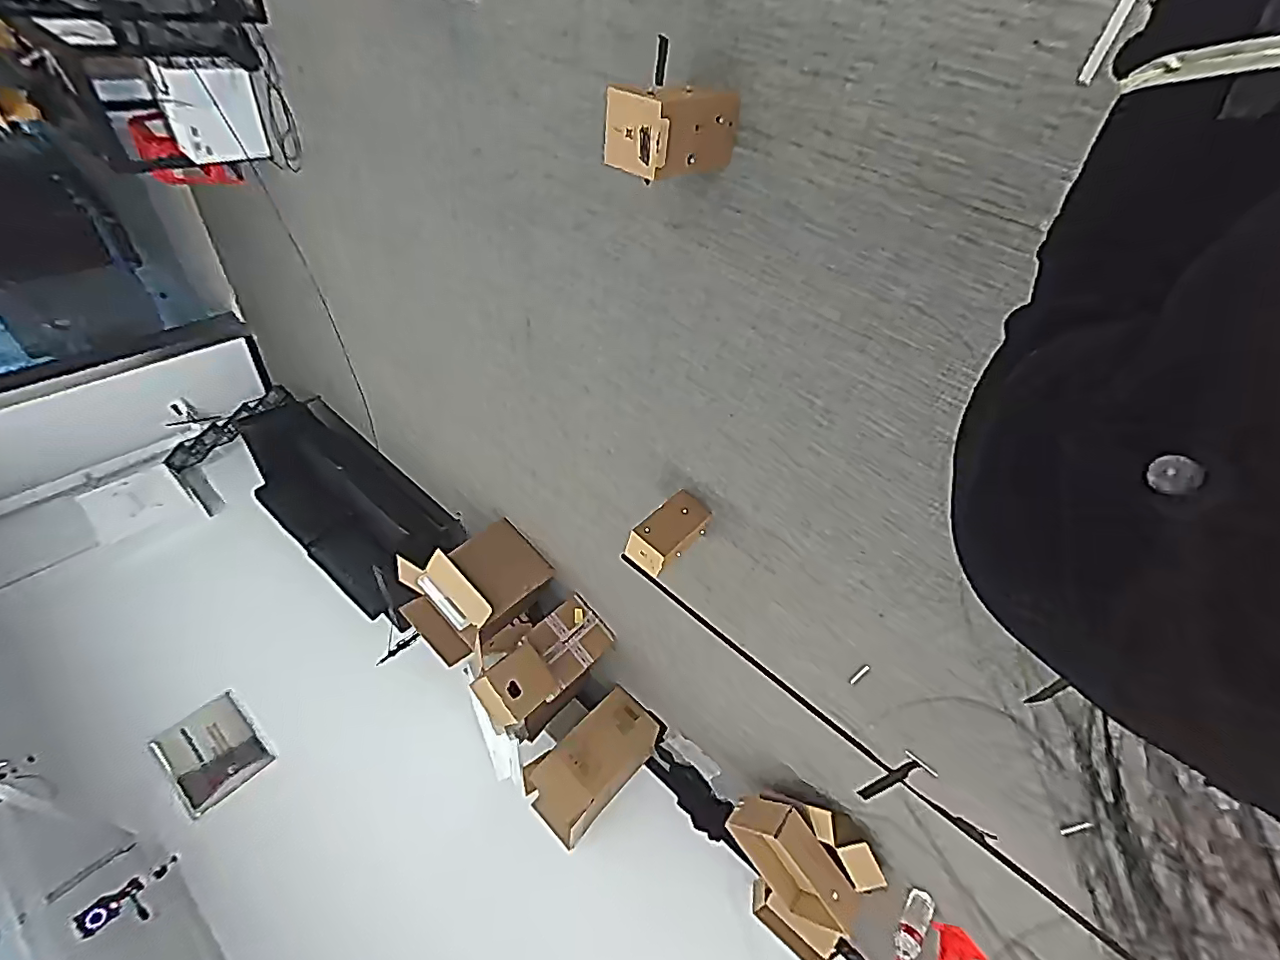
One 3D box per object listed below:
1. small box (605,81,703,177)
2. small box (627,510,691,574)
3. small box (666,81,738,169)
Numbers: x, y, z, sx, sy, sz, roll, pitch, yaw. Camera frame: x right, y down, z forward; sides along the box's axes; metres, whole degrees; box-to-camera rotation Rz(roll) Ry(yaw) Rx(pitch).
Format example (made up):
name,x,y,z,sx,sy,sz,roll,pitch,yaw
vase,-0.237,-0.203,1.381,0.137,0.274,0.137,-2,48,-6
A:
name,x,y,z,sx,sy,sz,roll,pitch,yaw
small box,0.035,-0.881,1.349,0.179,0.176,0.168,34,139,25
small box,0.076,0.245,2.214,0.179,0.176,0.168,38,142,18
small box,0.140,-0.957,1.451,0.179,0.176,0.168,34,139,26
